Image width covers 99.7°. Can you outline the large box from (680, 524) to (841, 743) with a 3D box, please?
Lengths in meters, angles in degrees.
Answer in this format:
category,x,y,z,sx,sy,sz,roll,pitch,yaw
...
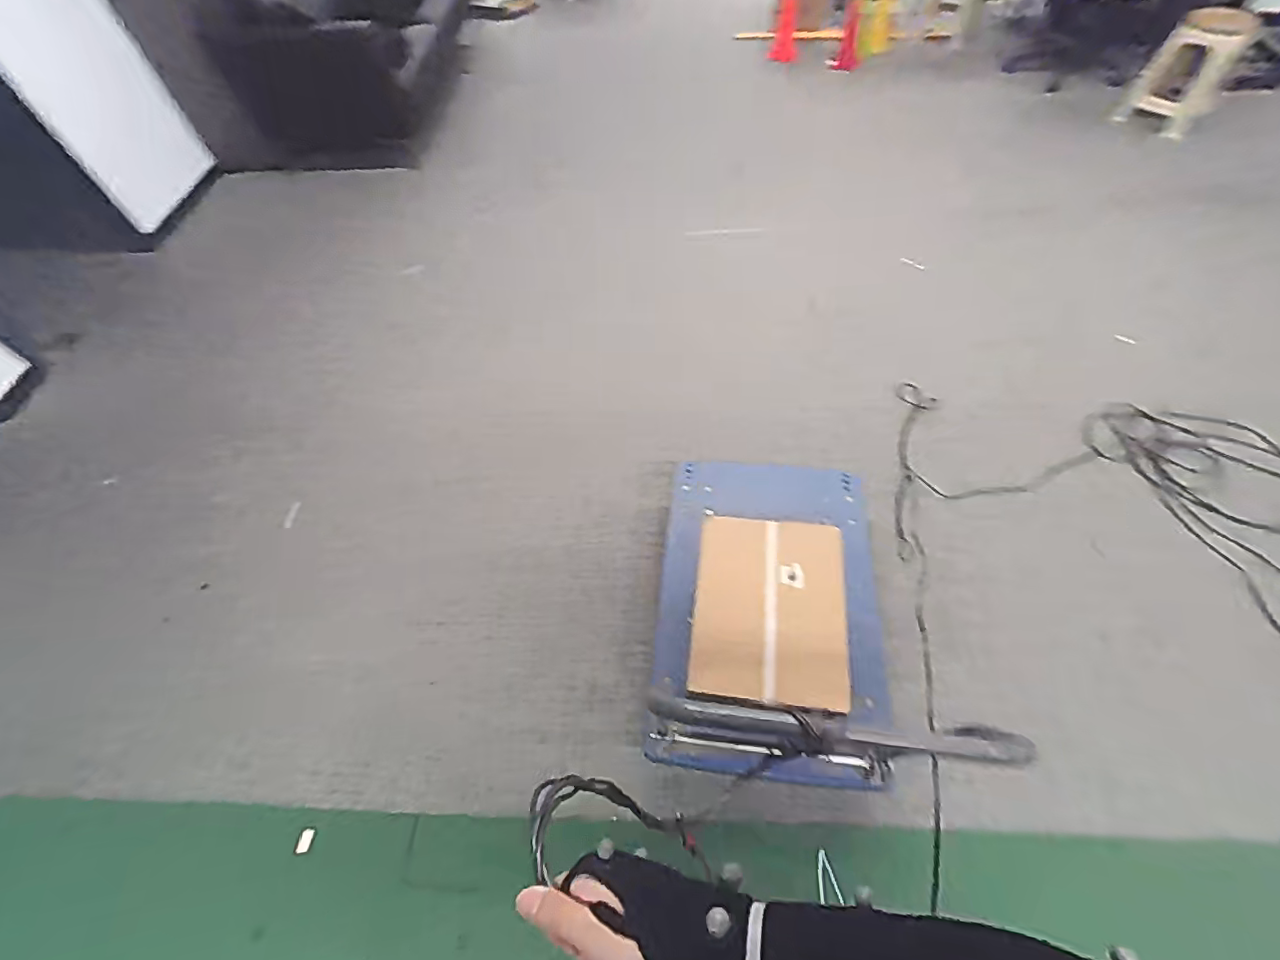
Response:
category,x,y,z,sx,sy,sz,roll,pitch,yaw
large box,0.267,0.362,1.273,0.320,0.320,0.408,6,56,7
